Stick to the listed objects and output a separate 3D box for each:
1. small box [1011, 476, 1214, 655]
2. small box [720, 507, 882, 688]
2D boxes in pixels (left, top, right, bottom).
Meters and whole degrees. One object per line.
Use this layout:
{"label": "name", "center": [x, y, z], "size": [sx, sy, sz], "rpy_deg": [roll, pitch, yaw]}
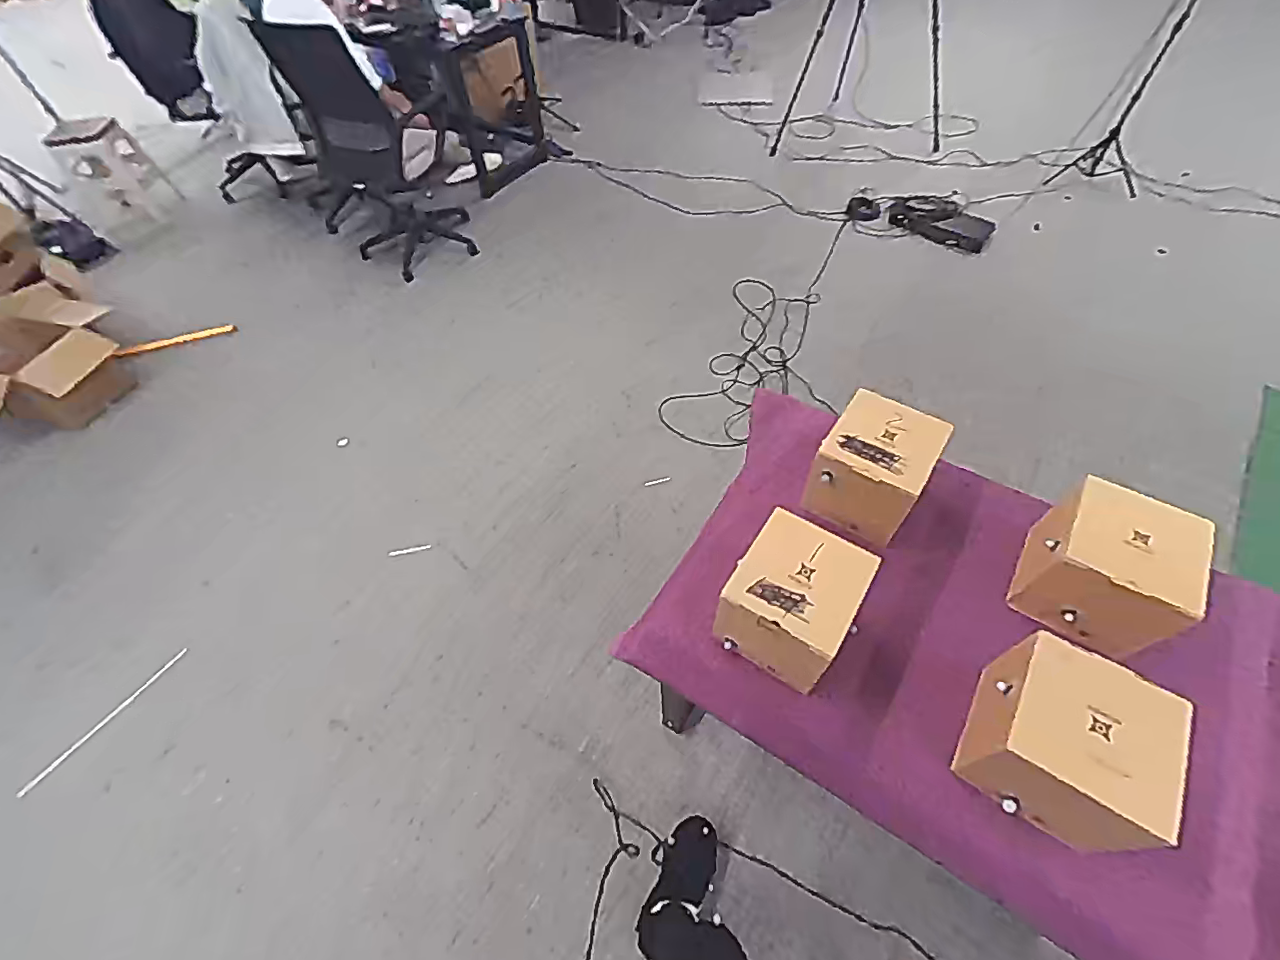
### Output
{"label": "small box", "center": [0.711, 0.133, 0.829], "size": [0.168, 0.176, 0.179], "rpy_deg": [28, 61, 21]}
{"label": "small box", "center": [0.232, 0.181, 0.815], "size": [0.168, 0.176, 0.179], "rpy_deg": [28, 59, 21]}
